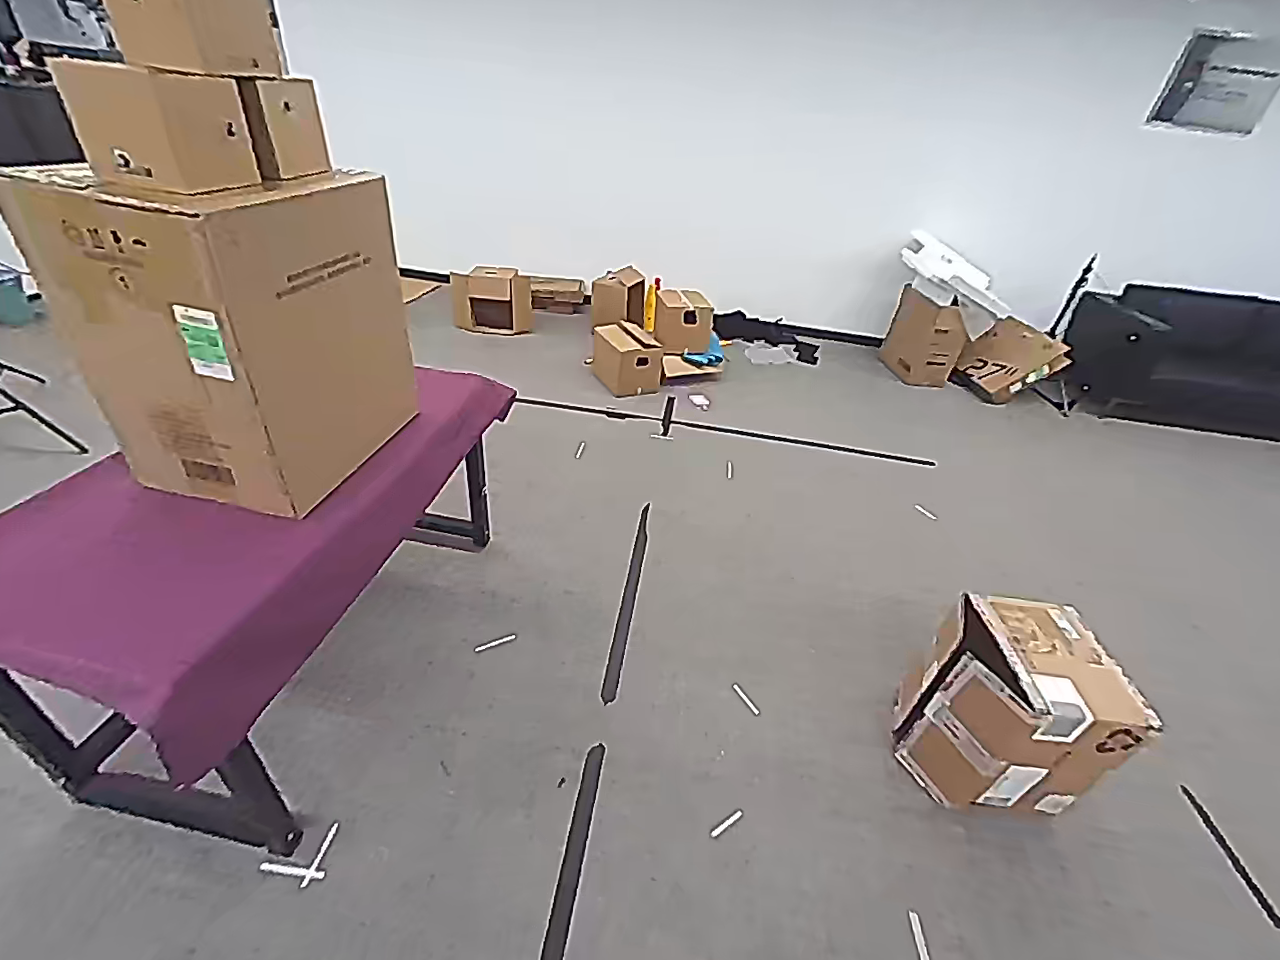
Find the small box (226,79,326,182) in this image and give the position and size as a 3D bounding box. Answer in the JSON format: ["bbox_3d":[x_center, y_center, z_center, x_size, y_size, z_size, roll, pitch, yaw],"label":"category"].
[{"bbox_3d":[-0.777,-0.719,1.104,0.168,0.176,0.179,9,35,2],"label":"small box"}]

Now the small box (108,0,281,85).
[{"bbox_3d":[-0.777,-0.801,0.938,0.179,0.176,0.168,13,37,10],"label":"small box"}]

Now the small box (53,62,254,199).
[{"bbox_3d":[-0.803,-0.591,0.922,0.168,0.176,0.179,8,35,2],"label":"small box"}]
